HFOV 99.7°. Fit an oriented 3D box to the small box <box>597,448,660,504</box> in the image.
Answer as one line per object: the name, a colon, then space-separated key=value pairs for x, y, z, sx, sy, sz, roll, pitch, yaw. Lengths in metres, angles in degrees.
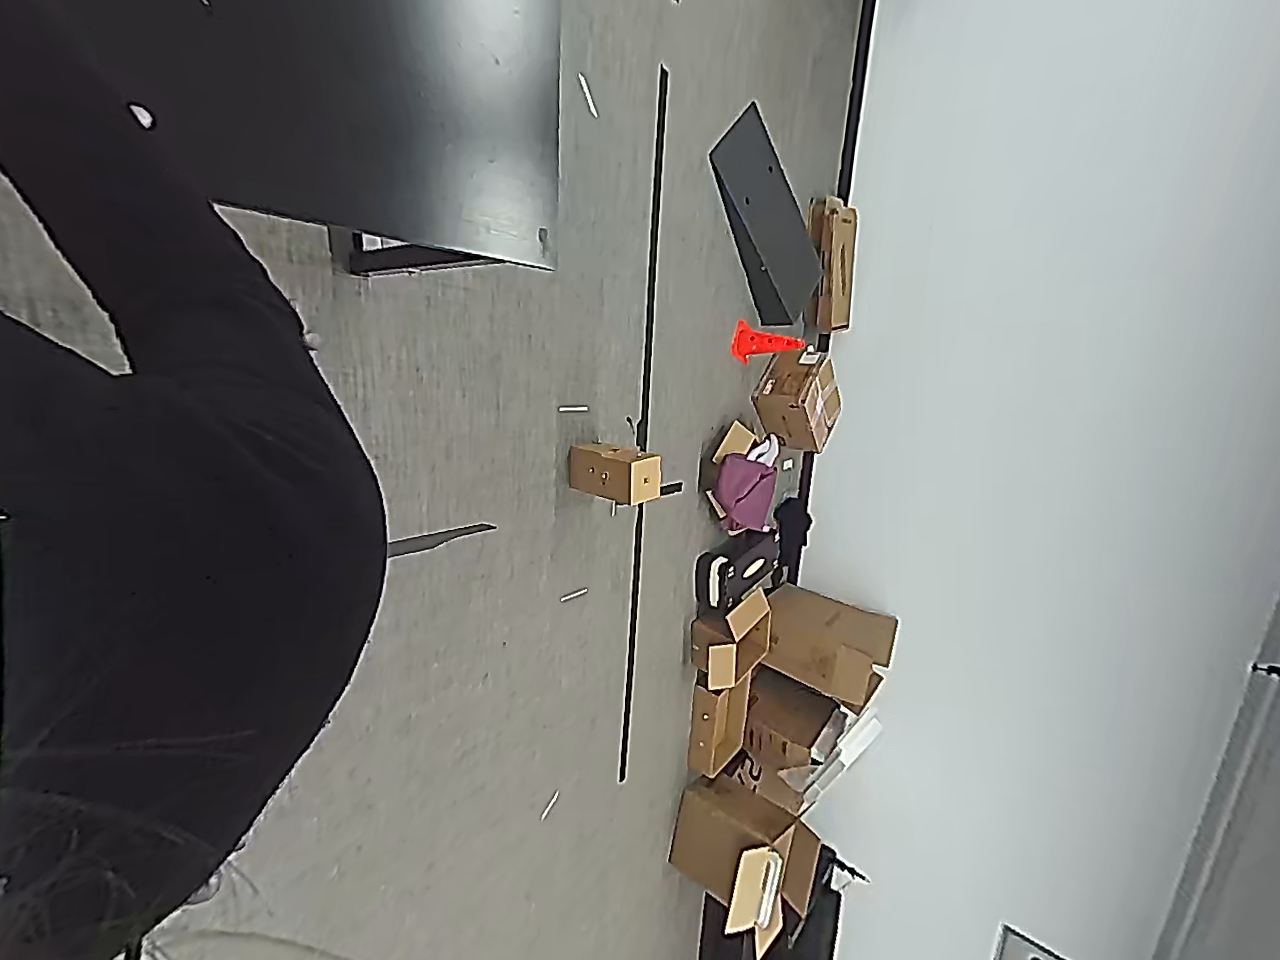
small box: x=-0.044 y=-0.021 z=2.054 sx=0.179 sy=0.176 sz=0.168 roll=-17 pitch=112 yaw=-47

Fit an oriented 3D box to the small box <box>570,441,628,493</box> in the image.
small box: x=-0.166 y=-0.056 z=2.155 sx=0.168 sy=0.176 sz=0.179 roll=-14 pitch=113 yaw=-49
